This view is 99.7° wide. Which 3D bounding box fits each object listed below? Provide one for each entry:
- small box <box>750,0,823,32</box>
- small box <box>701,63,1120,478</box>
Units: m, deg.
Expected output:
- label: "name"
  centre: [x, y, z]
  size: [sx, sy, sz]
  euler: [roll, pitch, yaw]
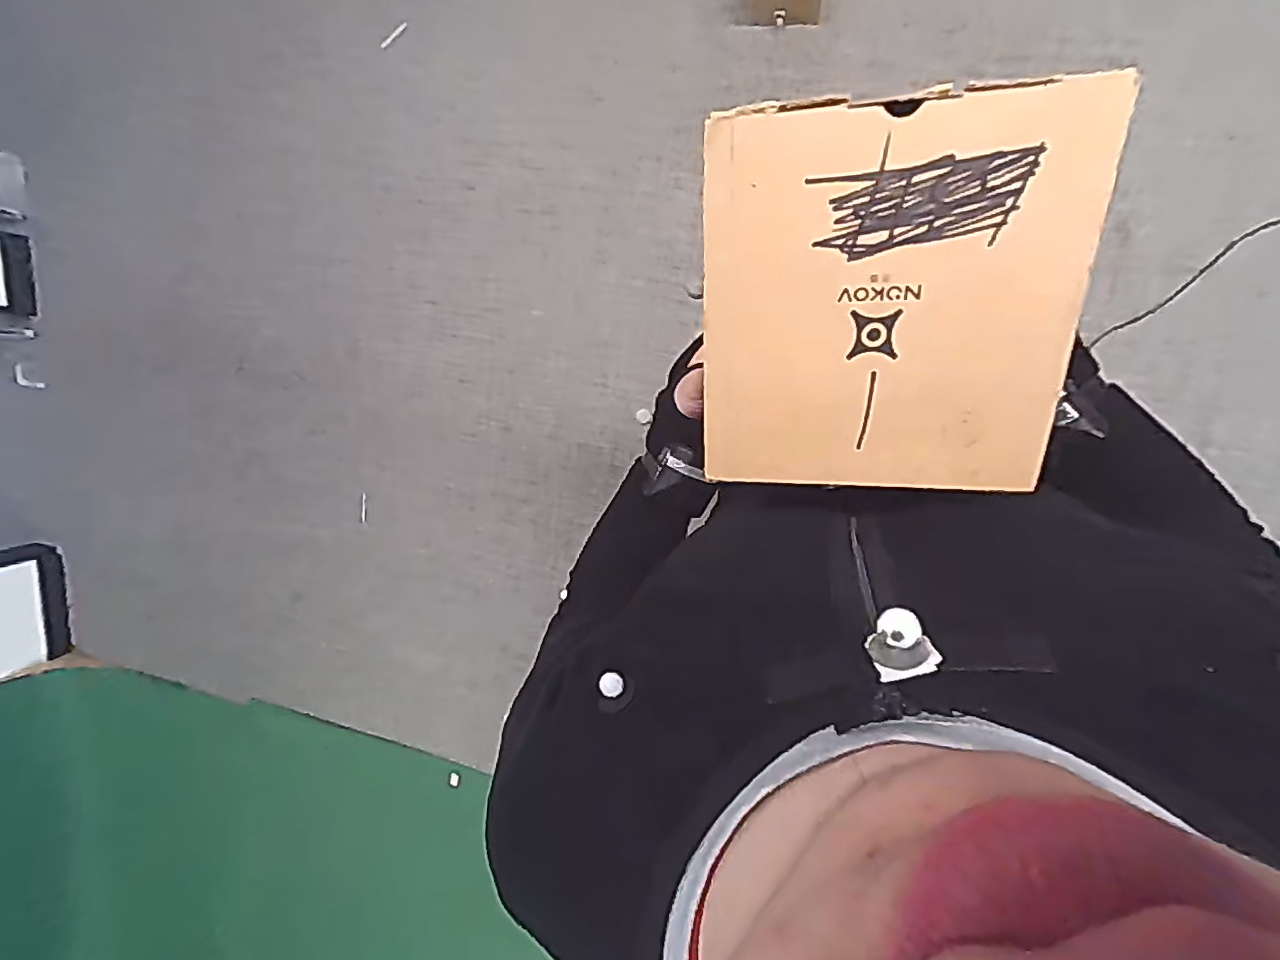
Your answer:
- label: "small box"
  centre: [0.343, -1.172, 1.232]
  size: [0.168, 0.176, 0.179]
  euler: [8, 103, 14]
- label: "small box"
  centre: [0.126, -0.114, 0.327]
  size: [0.168, 0.176, 0.179]
  euler: [2, 114, 13]
